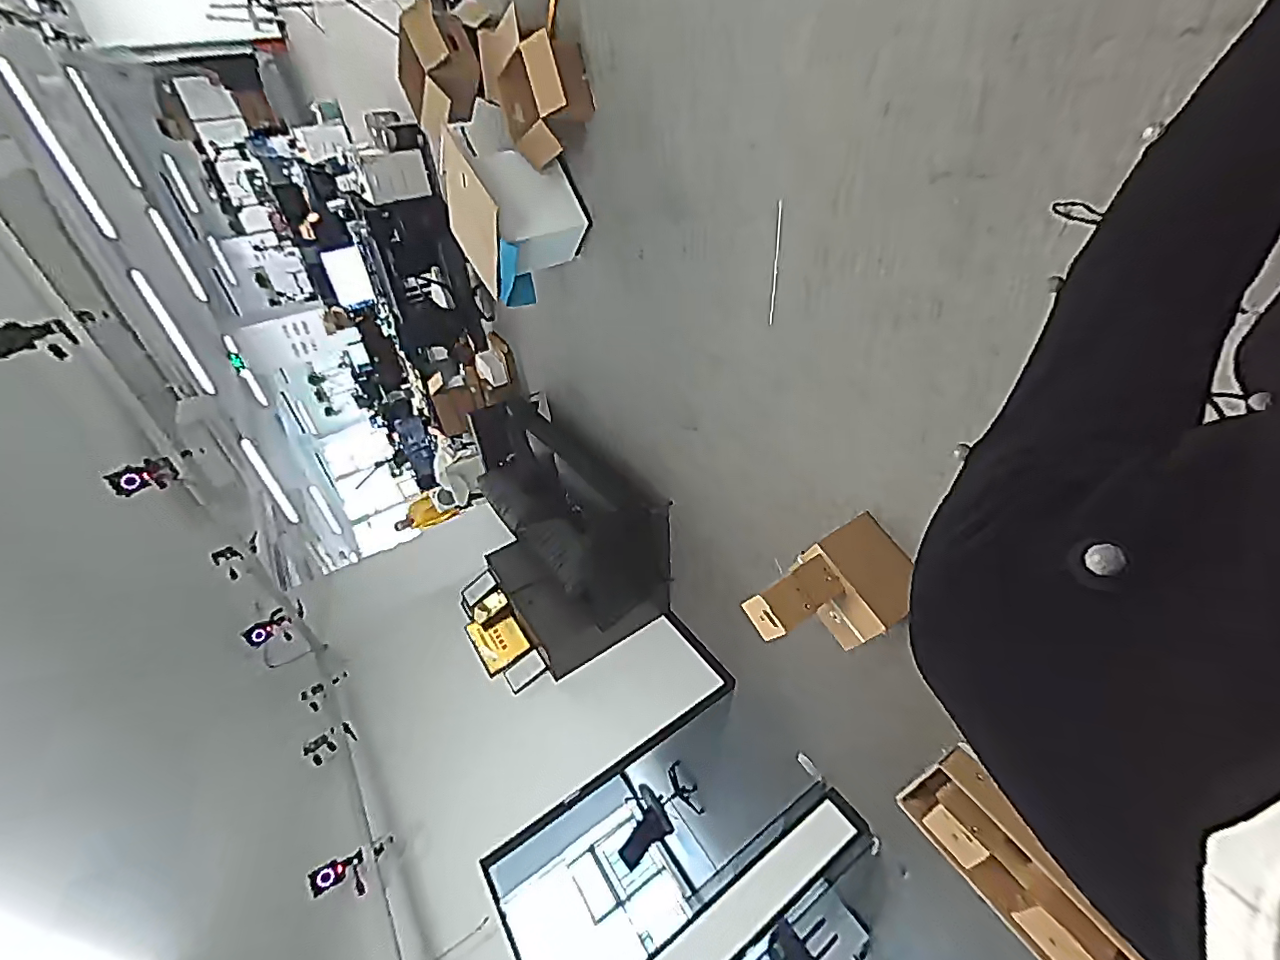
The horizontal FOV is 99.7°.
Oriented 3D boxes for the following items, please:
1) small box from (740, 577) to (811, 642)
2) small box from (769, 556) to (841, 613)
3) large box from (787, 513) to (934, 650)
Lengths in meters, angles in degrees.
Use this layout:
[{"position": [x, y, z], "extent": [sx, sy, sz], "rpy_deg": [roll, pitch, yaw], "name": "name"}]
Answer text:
[{"position": [0.521, 0.490, 2.053], "extent": [0.168, 0.176, 0.179], "rpy_deg": [57, 154, 14], "name": "small box"}, {"position": [0.651, 0.426, 2.129], "extent": [0.168, 0.176, 0.179], "rpy_deg": [57, 153, 15], "name": "small box"}, {"position": [0.892, 0.416, 2.234], "extent": [0.408, 0.320, 0.320], "rpy_deg": [53, 154, 20], "name": "large box"}]
